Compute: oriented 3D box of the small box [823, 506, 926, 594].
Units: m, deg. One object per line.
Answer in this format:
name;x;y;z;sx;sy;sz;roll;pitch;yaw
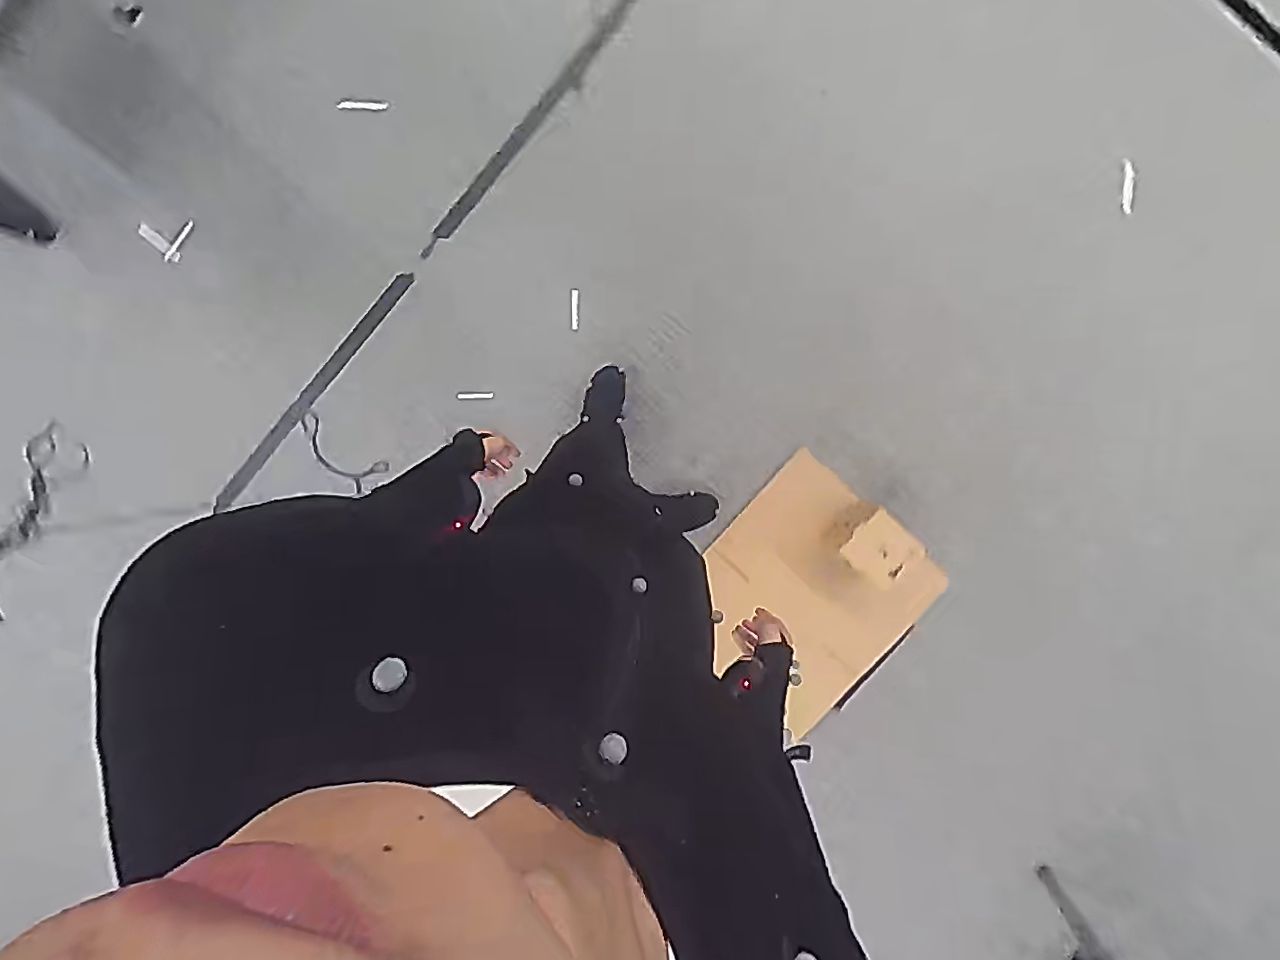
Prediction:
small box;0.645;0.186;1.517;0.179;0.176;0.168;44;95;0
